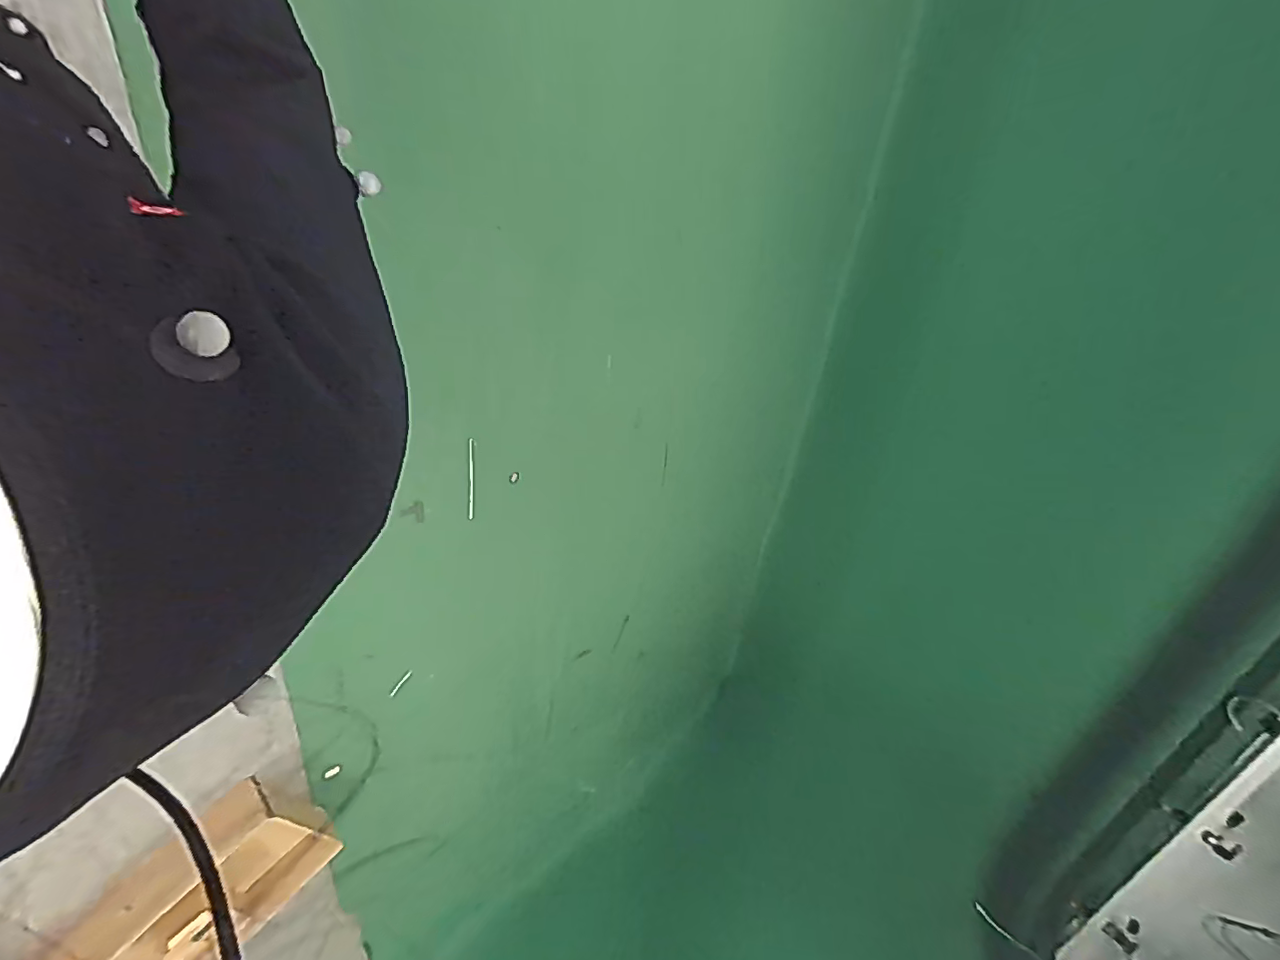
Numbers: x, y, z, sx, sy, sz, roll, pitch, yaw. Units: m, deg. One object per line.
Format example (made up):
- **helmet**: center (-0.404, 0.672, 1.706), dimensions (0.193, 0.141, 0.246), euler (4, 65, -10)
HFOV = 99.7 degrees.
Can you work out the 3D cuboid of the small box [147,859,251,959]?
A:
- **small box**: center (-1.329, 1.290, 1.627), dimensions (0.168, 0.176, 0.179), euler (-36, 140, -32)
